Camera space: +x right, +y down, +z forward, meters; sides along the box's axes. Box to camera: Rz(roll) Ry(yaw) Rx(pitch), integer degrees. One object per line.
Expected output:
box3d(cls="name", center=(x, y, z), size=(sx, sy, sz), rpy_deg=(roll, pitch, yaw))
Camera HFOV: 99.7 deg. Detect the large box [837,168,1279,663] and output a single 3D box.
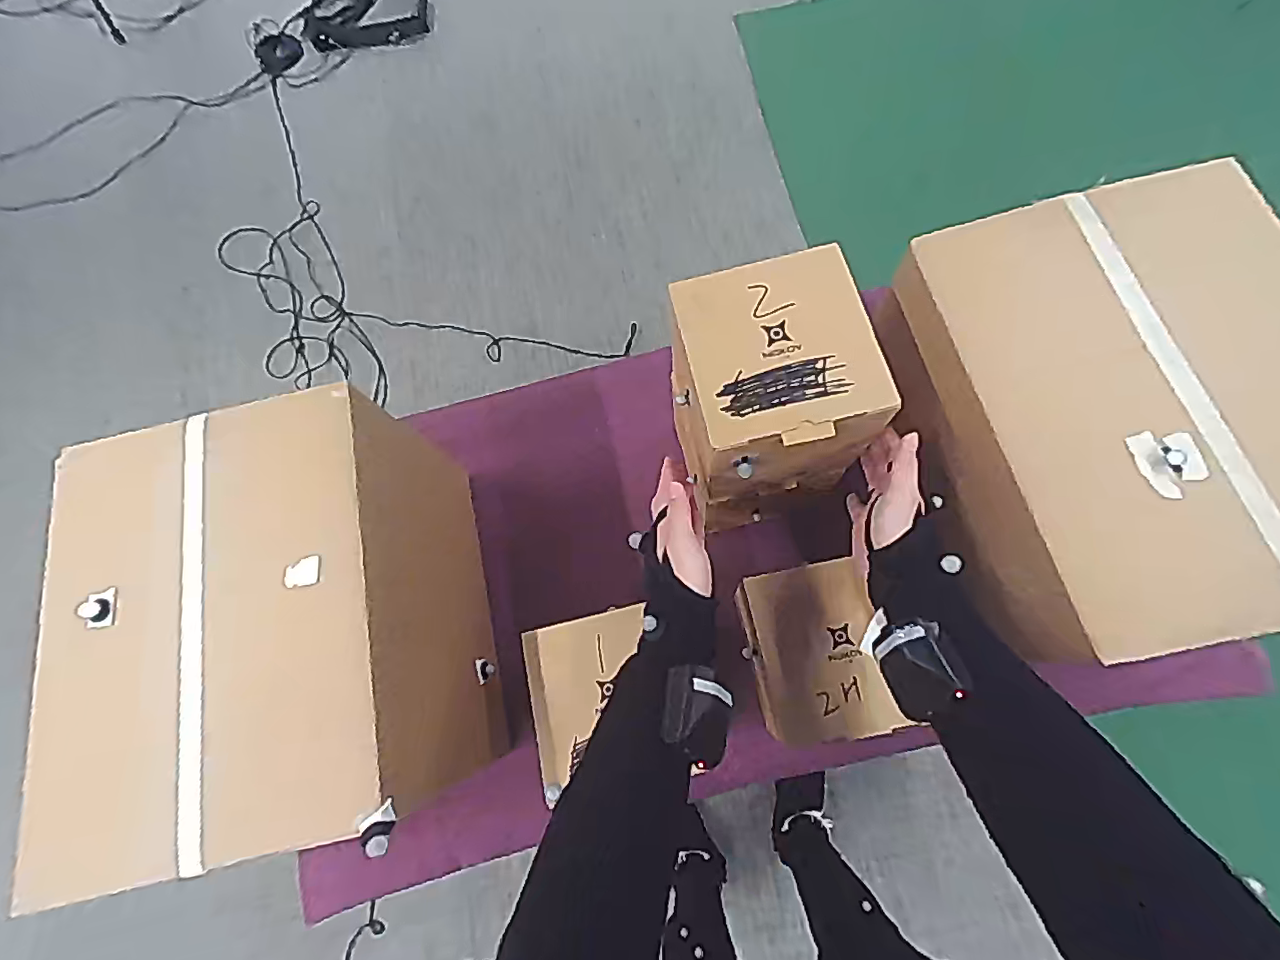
box3d(cls="large box", center=(0.466, -0.041, 0.602), size=(0.320, 0.320, 0.408), rpy_deg=(-14, 73, 2))
